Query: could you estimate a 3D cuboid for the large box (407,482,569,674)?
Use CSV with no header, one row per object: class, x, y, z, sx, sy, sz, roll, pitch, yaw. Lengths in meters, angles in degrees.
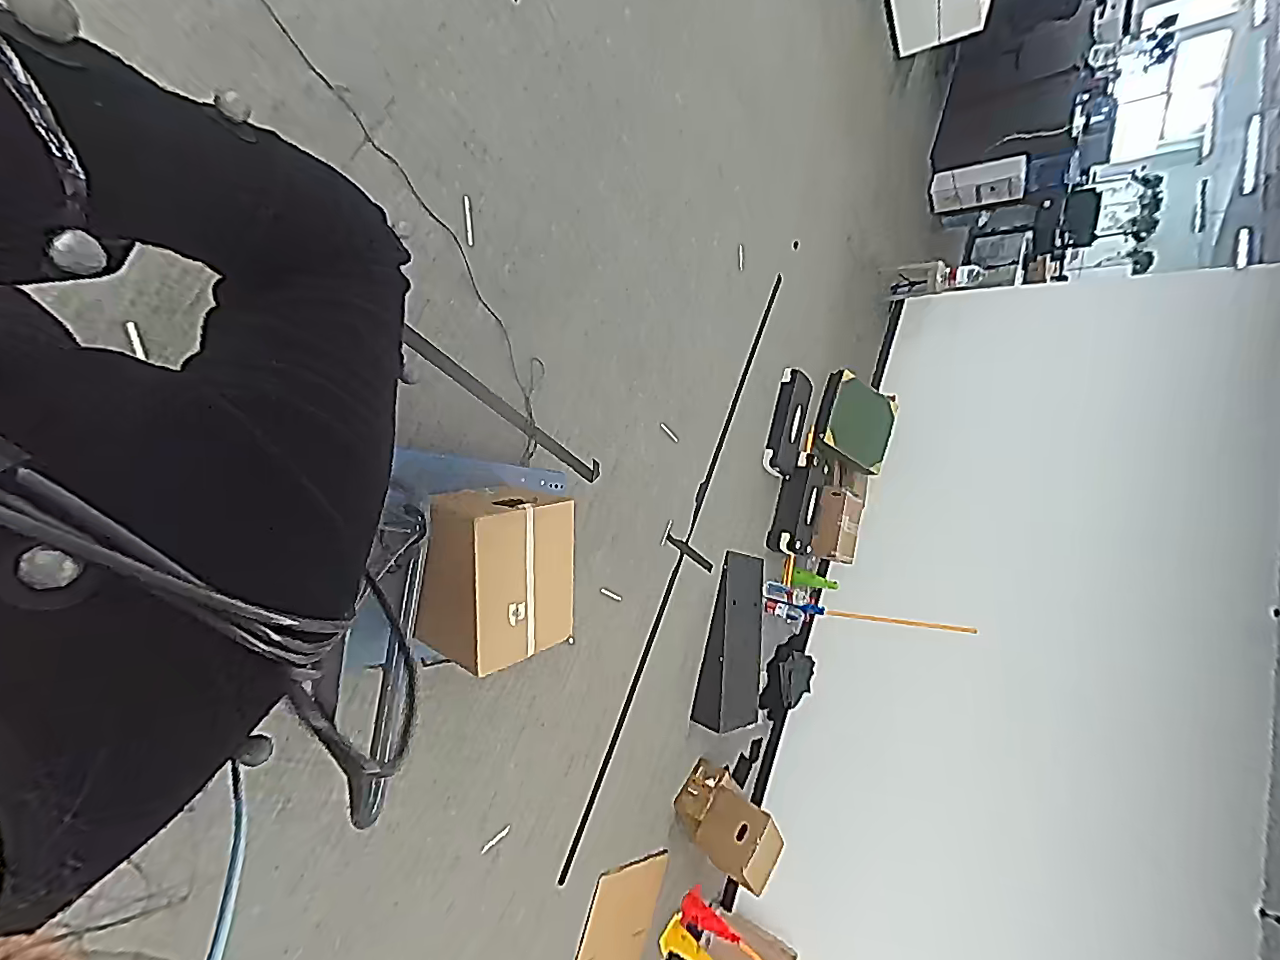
large box,-0.409,0.237,1.471,0.320,0.320,0.408,-9,105,-49
